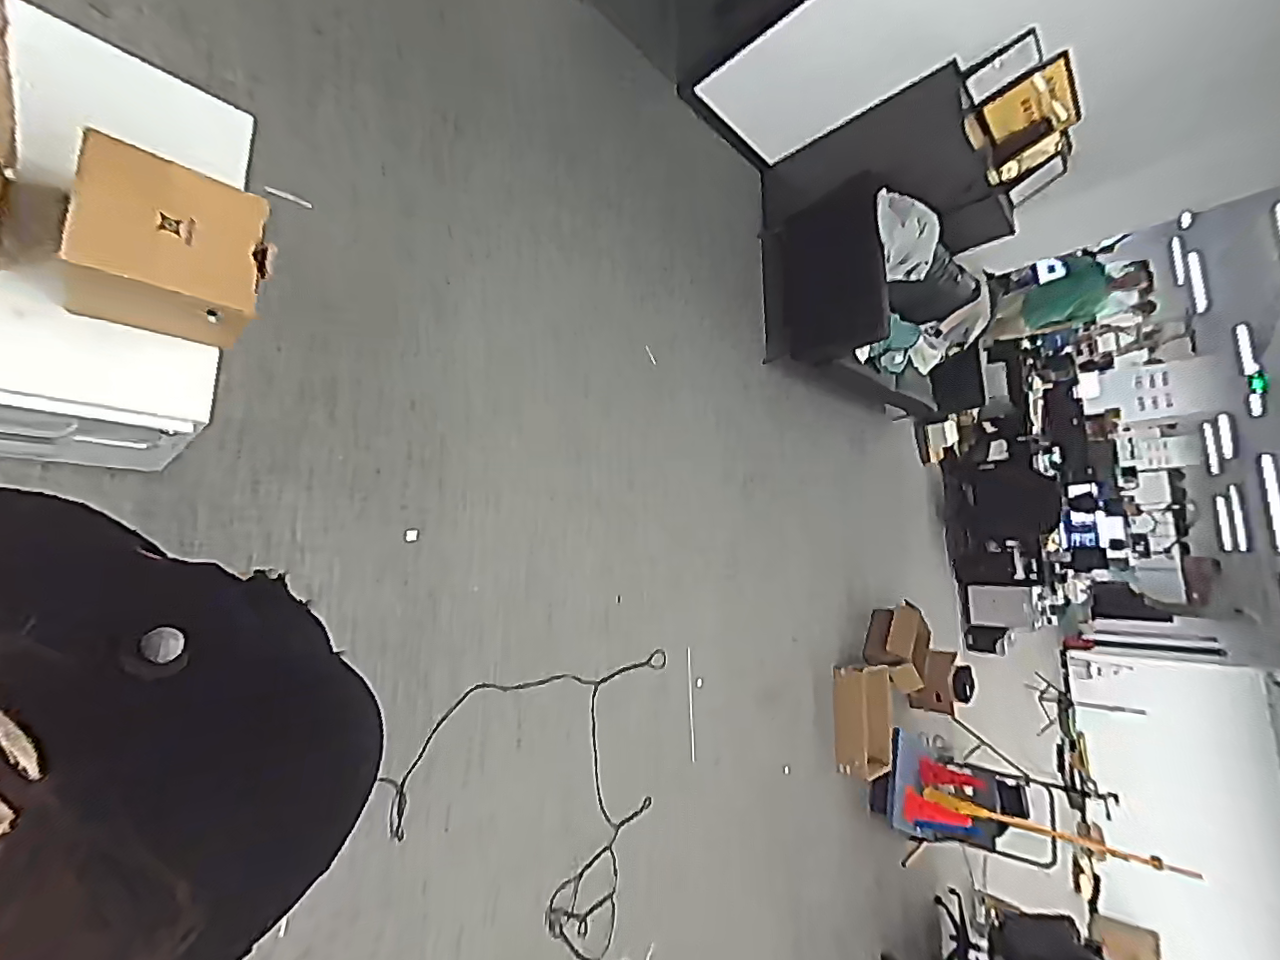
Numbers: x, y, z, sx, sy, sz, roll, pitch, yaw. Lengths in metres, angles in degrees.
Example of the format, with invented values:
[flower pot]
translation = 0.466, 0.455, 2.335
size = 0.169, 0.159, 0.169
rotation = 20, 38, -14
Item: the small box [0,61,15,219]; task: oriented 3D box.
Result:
[small box]
translation = -0.770, -0.351, 0.536
size = 0.179, 0.176, 0.168
rotation = 10, 78, -46
